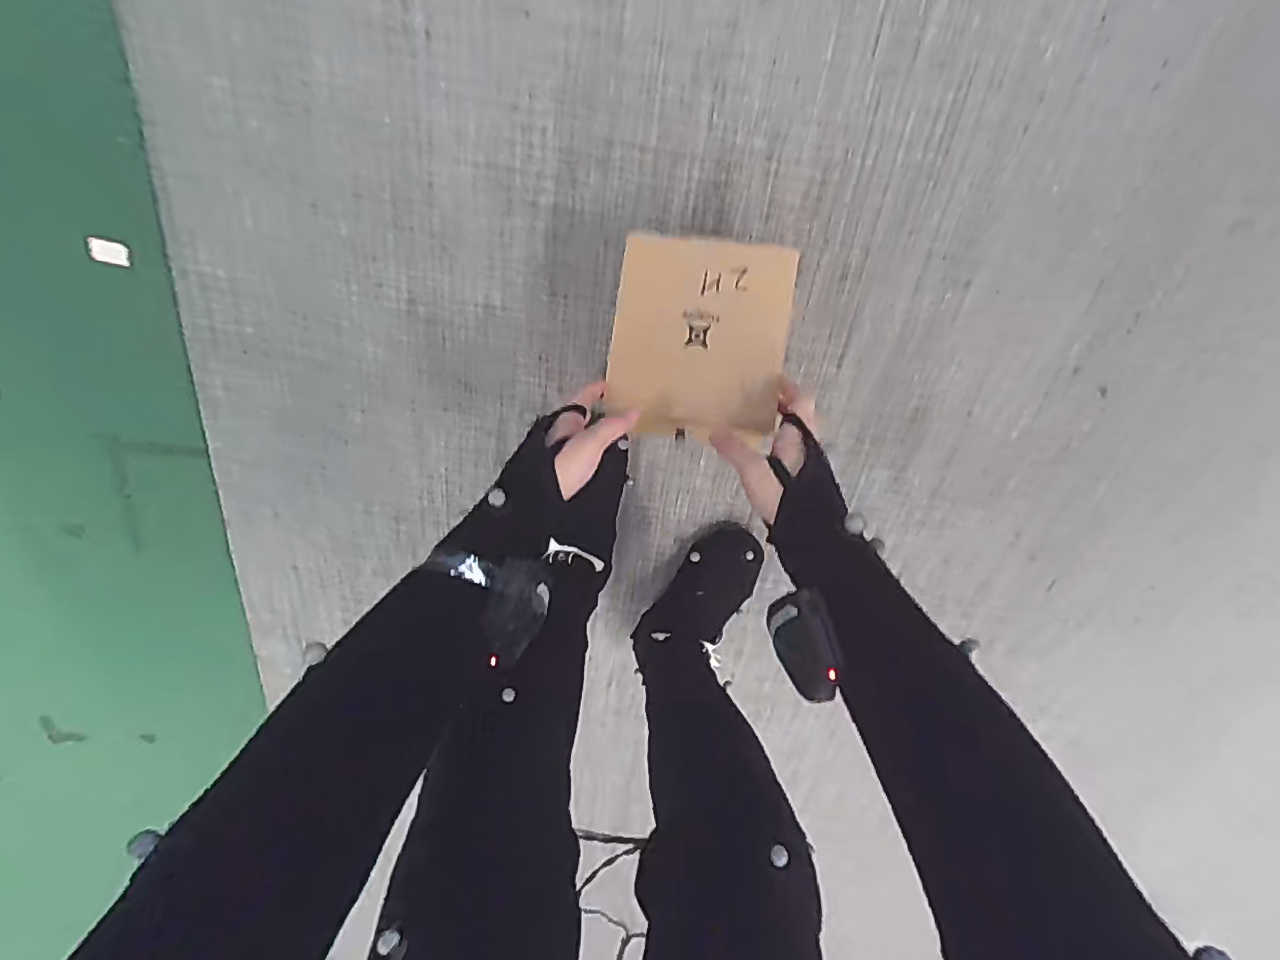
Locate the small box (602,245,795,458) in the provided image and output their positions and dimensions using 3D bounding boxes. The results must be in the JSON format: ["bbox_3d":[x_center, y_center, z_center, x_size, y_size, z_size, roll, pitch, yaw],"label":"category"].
[{"bbox_3d":[0.064,-0.127,0.594,0.168,0.176,0.179,8,84,6],"label":"small box"}]
